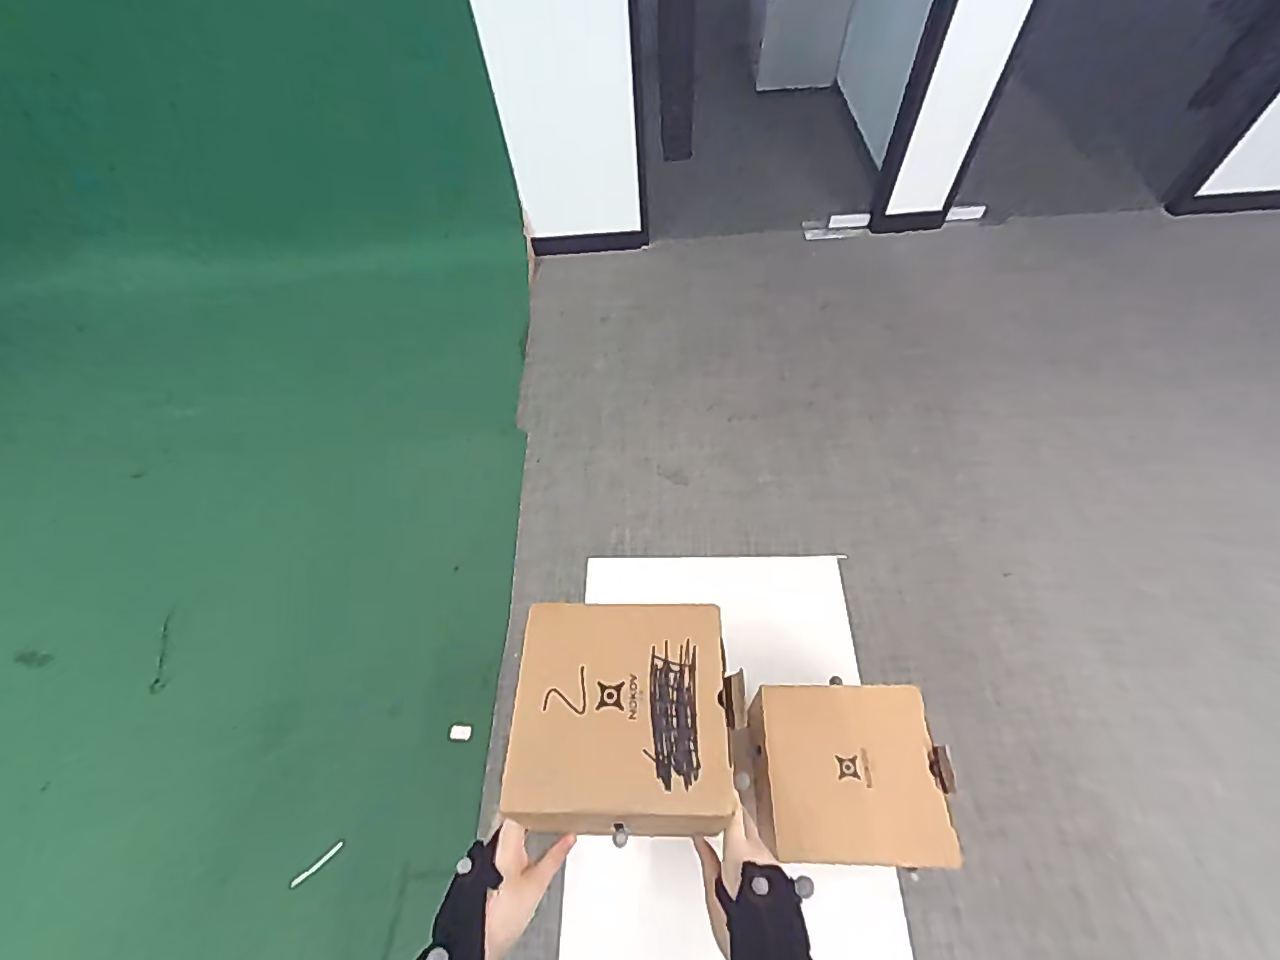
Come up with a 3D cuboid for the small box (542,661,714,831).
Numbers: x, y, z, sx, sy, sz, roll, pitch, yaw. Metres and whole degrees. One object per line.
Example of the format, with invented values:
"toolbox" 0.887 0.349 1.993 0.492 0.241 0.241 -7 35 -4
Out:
"small box" -0.007 0.320 0.646 0.179 0.176 0.168 -1 58 2
